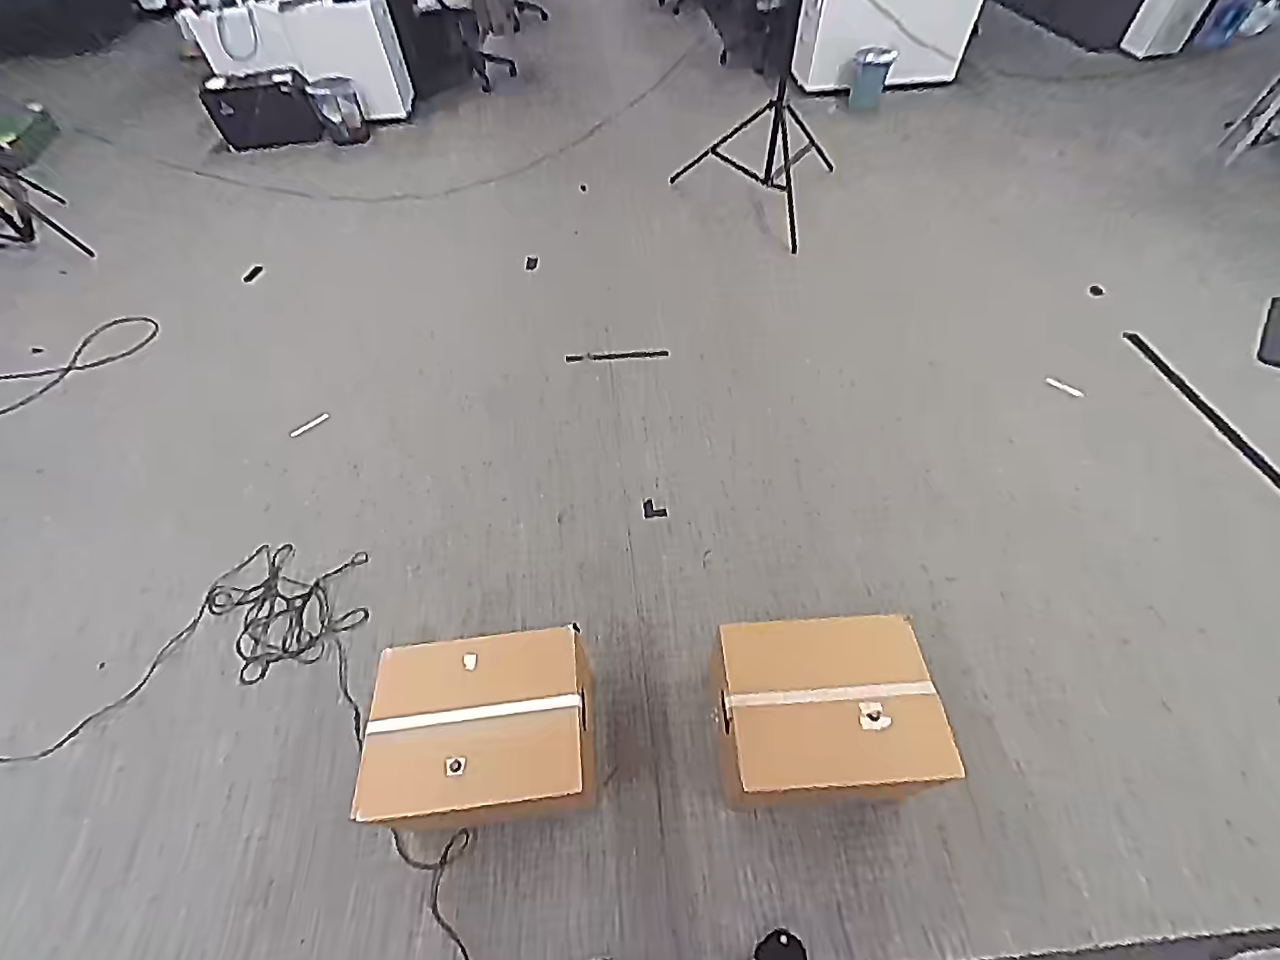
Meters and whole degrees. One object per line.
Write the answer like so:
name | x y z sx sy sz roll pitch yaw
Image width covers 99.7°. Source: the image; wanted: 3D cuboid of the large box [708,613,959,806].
large box | 0.378 0.507 1.185 0.408 0.320 0.320 -3 54 -1
